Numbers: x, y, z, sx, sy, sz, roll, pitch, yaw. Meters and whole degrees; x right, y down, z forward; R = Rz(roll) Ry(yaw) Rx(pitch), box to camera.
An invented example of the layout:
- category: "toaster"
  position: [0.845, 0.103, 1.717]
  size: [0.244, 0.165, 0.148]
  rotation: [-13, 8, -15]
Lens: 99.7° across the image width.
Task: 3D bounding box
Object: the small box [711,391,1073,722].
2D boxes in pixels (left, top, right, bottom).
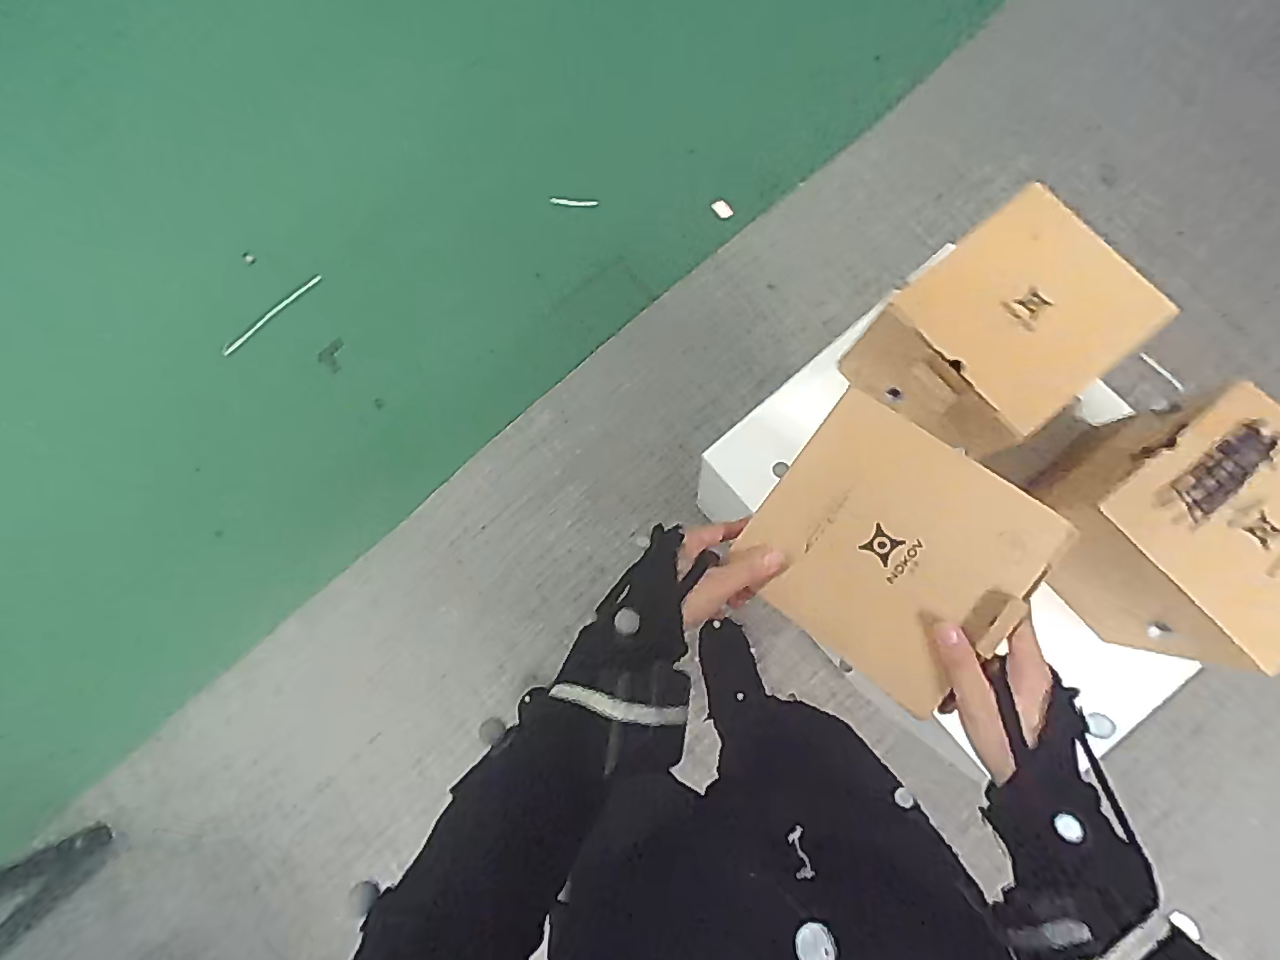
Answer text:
- category: "small box"
  position: [0.186, 0.053, 0.449]
  size: [0.179, 0.176, 0.168]
  rotation: [36, 95, 15]

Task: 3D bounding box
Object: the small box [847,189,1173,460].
- category: "small box"
  position: [0.345, -0.137, 0.548]
  size: [0.179, 0.176, 0.168]
  rotation: [-39, 81, -1]
